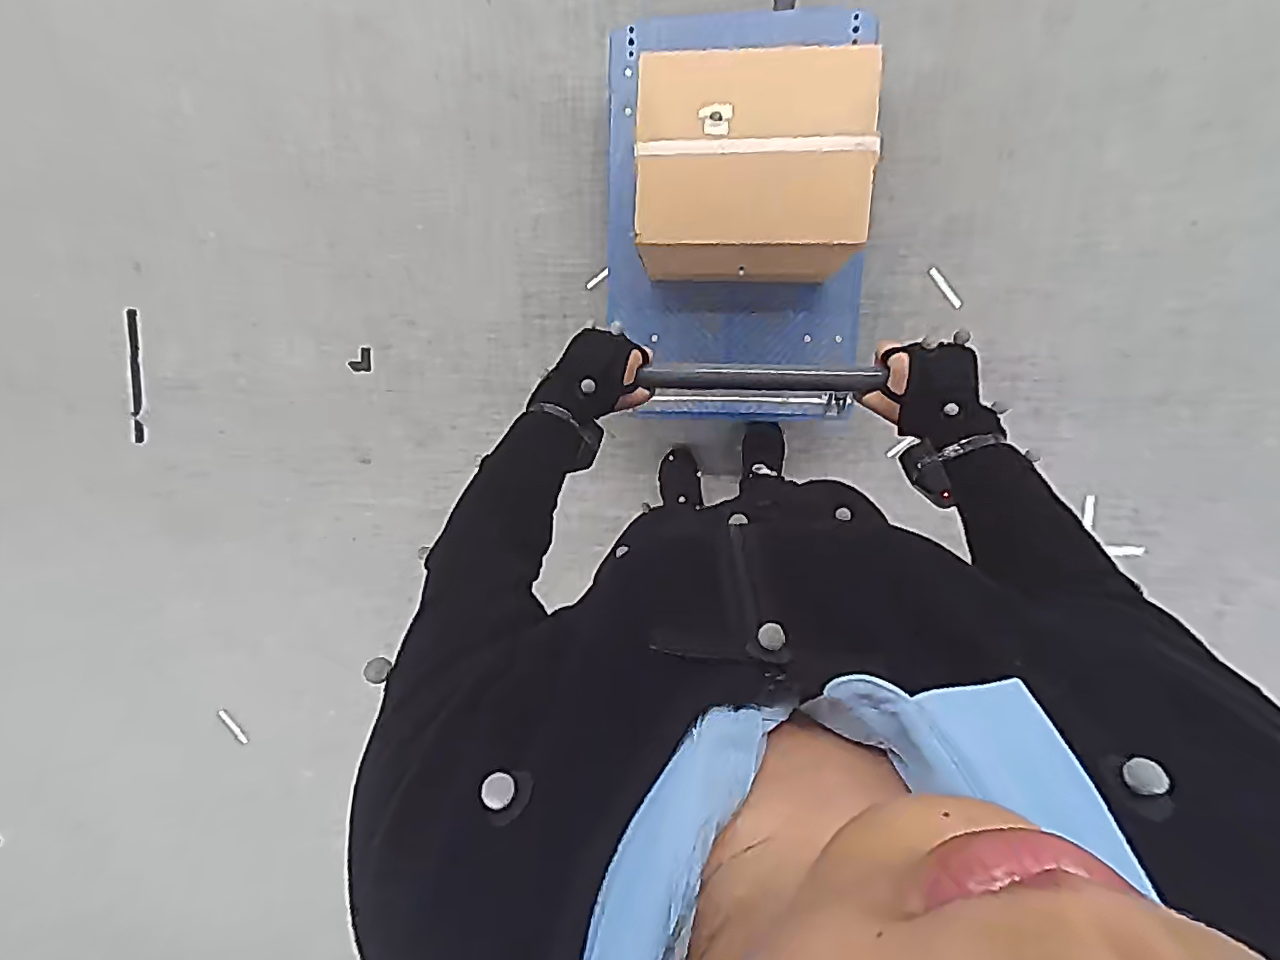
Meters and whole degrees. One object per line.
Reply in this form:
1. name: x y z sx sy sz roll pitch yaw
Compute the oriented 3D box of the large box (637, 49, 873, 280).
1. large box: 0.213 -0.596 1.094 0.408 0.320 0.320 2 97 7
